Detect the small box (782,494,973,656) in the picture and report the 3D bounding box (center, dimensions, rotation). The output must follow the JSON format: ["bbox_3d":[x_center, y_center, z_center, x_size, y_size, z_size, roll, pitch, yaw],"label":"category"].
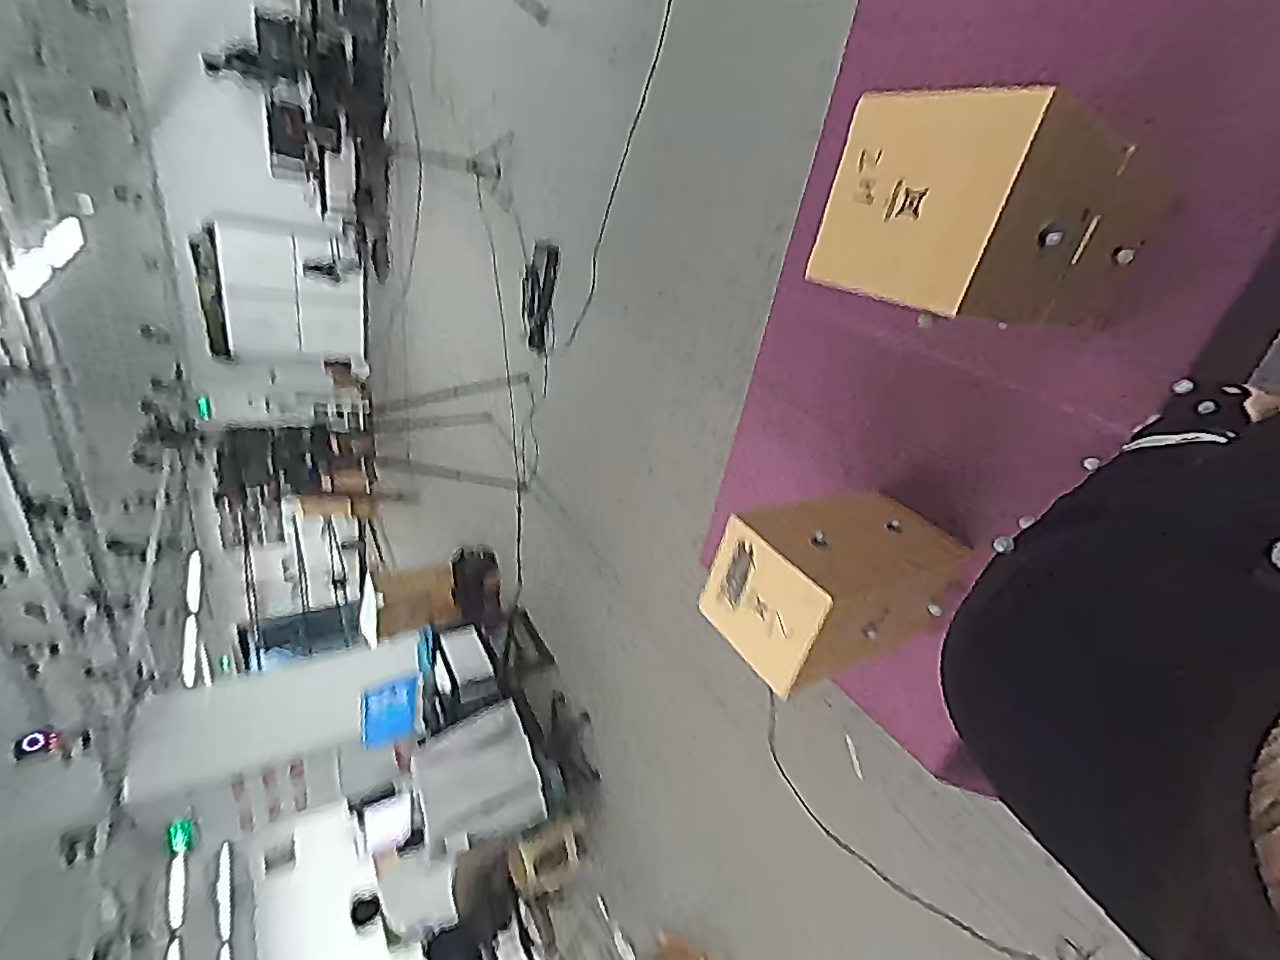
[{"bbox_3d":[0.358,0.132,0.827,0.179,0.176,0.168,42,129,43],"label":"small box"}]

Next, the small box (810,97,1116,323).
[{"bbox_3d":[0.310,-0.259,0.533,0.179,0.176,0.168,42,128,45],"label":"small box"}]
